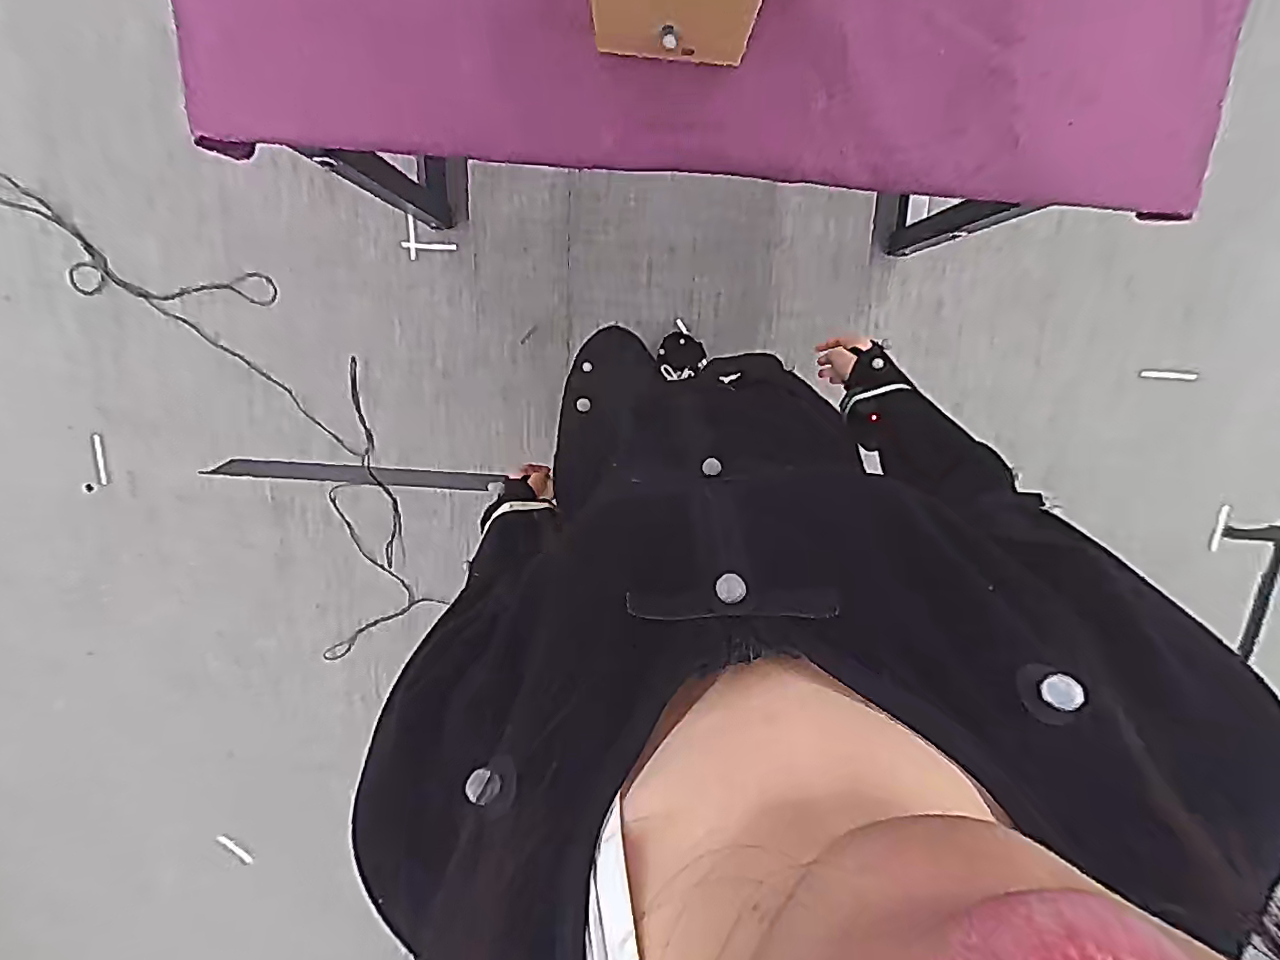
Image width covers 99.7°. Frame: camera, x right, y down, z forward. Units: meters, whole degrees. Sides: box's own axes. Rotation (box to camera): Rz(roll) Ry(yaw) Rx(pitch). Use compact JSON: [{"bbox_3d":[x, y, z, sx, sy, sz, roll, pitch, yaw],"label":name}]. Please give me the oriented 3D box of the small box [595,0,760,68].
[{"bbox_3d":[0.041,-0.551,0.527,0.168,0.176,0.179,5,103,-1],"label":"small box"}]
